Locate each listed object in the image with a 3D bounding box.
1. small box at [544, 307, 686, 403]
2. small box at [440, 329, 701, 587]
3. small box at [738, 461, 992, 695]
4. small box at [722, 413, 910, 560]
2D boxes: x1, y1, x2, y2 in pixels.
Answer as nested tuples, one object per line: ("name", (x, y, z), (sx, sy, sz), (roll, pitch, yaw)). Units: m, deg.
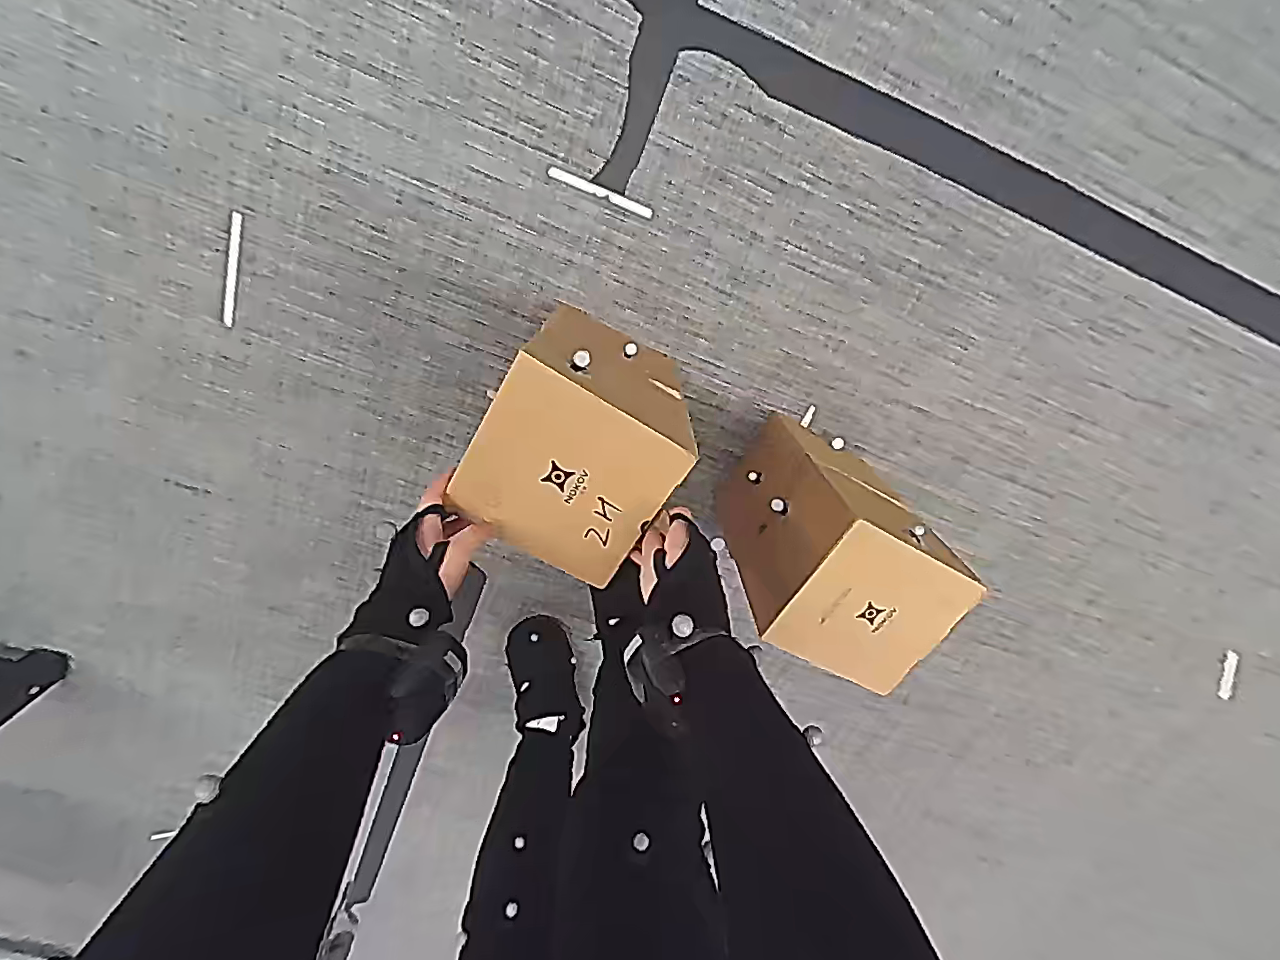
("small box", (-0.062, -0.105, 0.696), (0.179, 0.176, 0.168), (25, 113, -13))
("small box", (-0.062, -0.033, 0.539), (0.179, 0.176, 0.168), (30, 111, -12))
("small box", (0.237, 0.102, 0.619), (0.179, 0.176, 0.168), (28, 111, -13))
("small box", (0.231, 0.034, 0.767), (0.168, 0.176, 0.179), (26, 112, -13))
